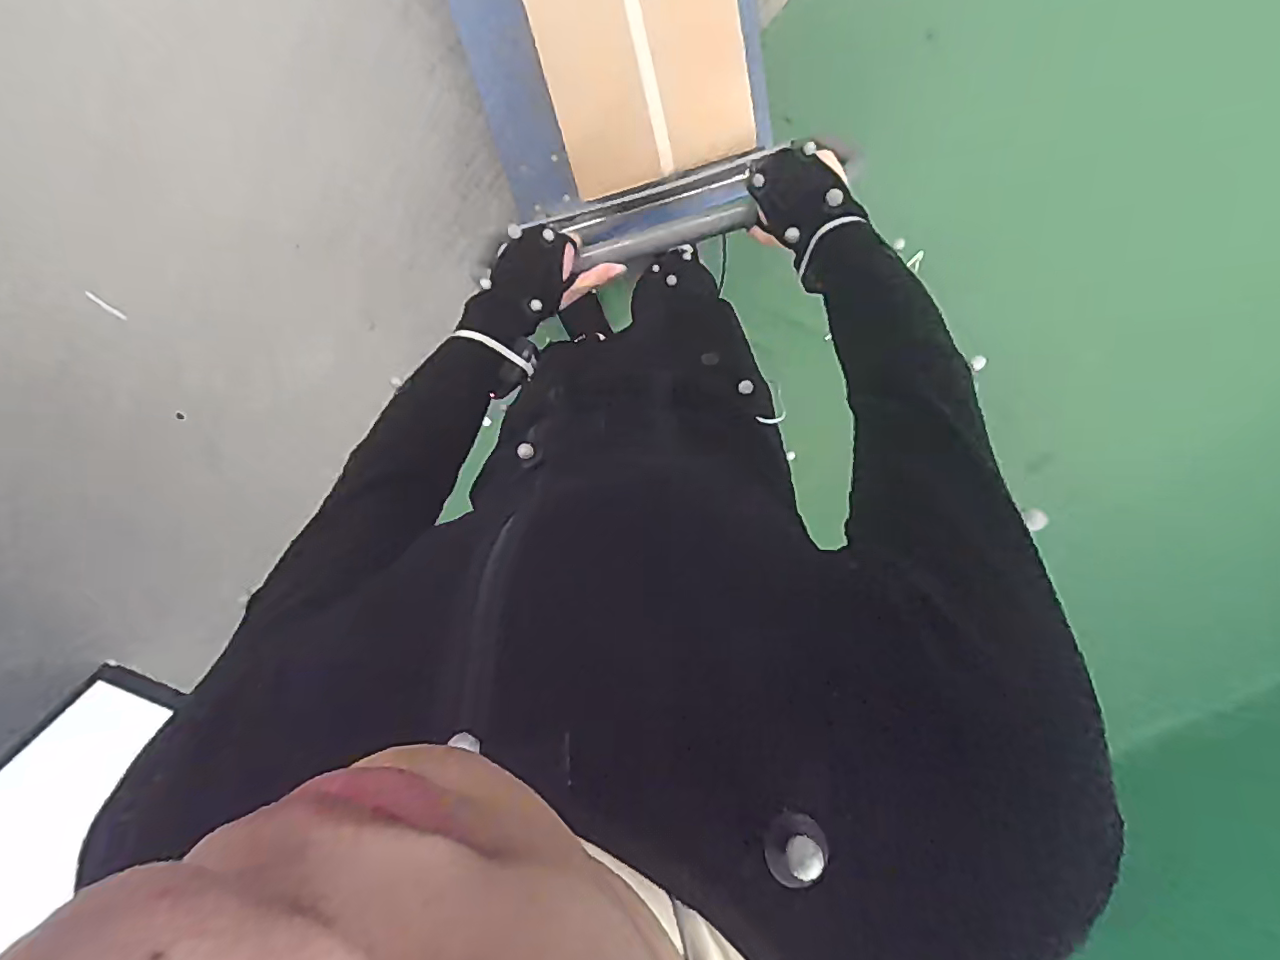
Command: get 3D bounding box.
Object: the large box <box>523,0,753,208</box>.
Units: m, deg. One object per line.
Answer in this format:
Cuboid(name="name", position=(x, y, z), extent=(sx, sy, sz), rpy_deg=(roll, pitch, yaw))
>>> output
Cuboid(name="large box", position=(-0.004, -0.759, 0.987), extent=(0.320, 0.320, 0.408), rpy_deg=(-13, 117, 7))
